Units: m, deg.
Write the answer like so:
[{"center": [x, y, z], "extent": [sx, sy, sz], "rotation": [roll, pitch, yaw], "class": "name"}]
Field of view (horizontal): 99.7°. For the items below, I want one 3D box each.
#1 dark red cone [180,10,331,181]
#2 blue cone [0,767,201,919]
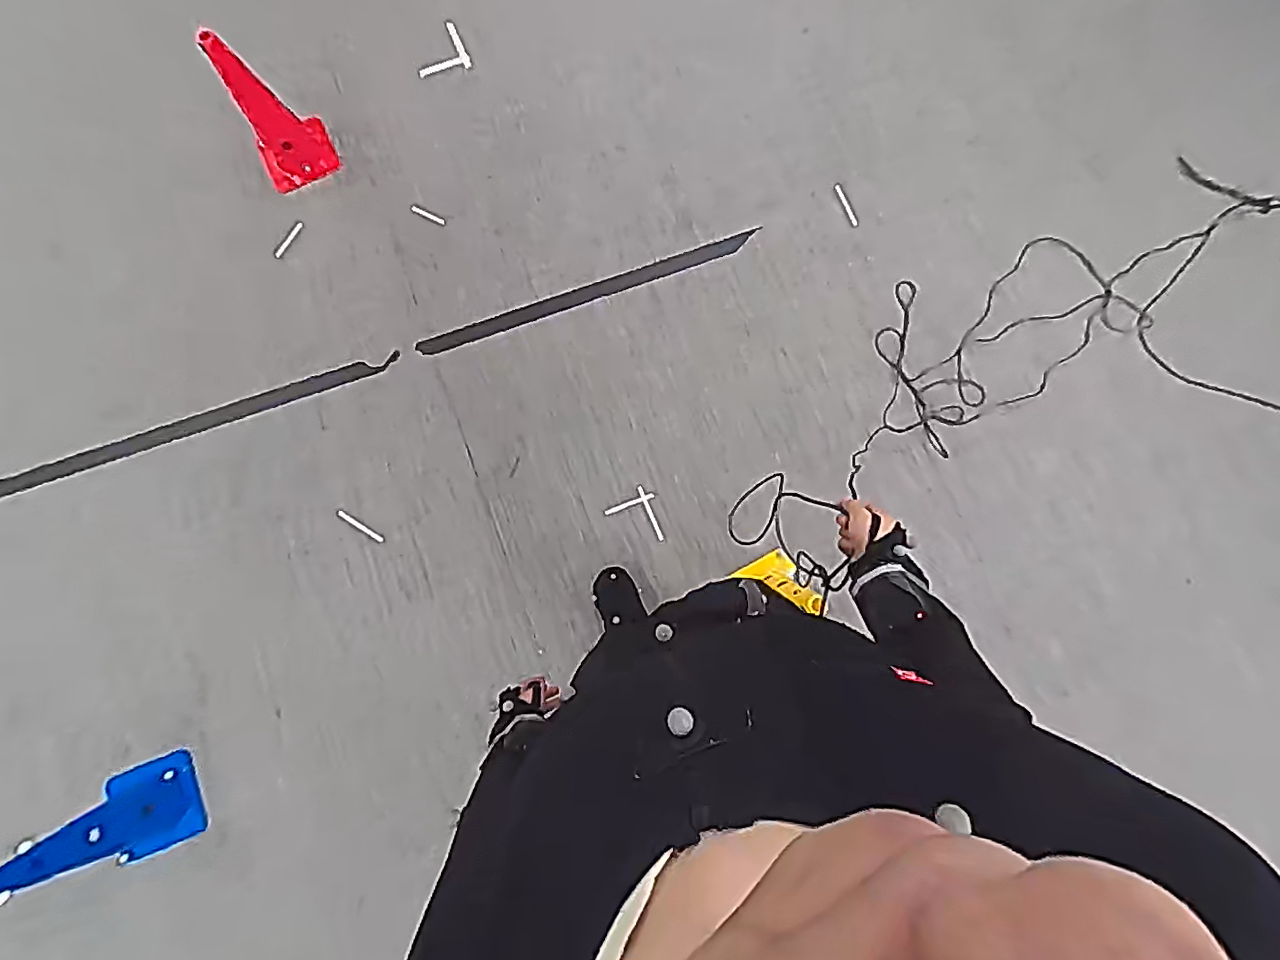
[{"center": [-0.992, -0.977, 1.367], "extent": [0.202, 0.394, 0.201], "rotation": [-28, 83, -6], "class": "dark red cone"}, {"center": [-1.126, 0.757, 1.091], "extent": [0.193, 0.380, 0.192], "rotation": [-20, 82, -4], "class": "blue cone"}]
